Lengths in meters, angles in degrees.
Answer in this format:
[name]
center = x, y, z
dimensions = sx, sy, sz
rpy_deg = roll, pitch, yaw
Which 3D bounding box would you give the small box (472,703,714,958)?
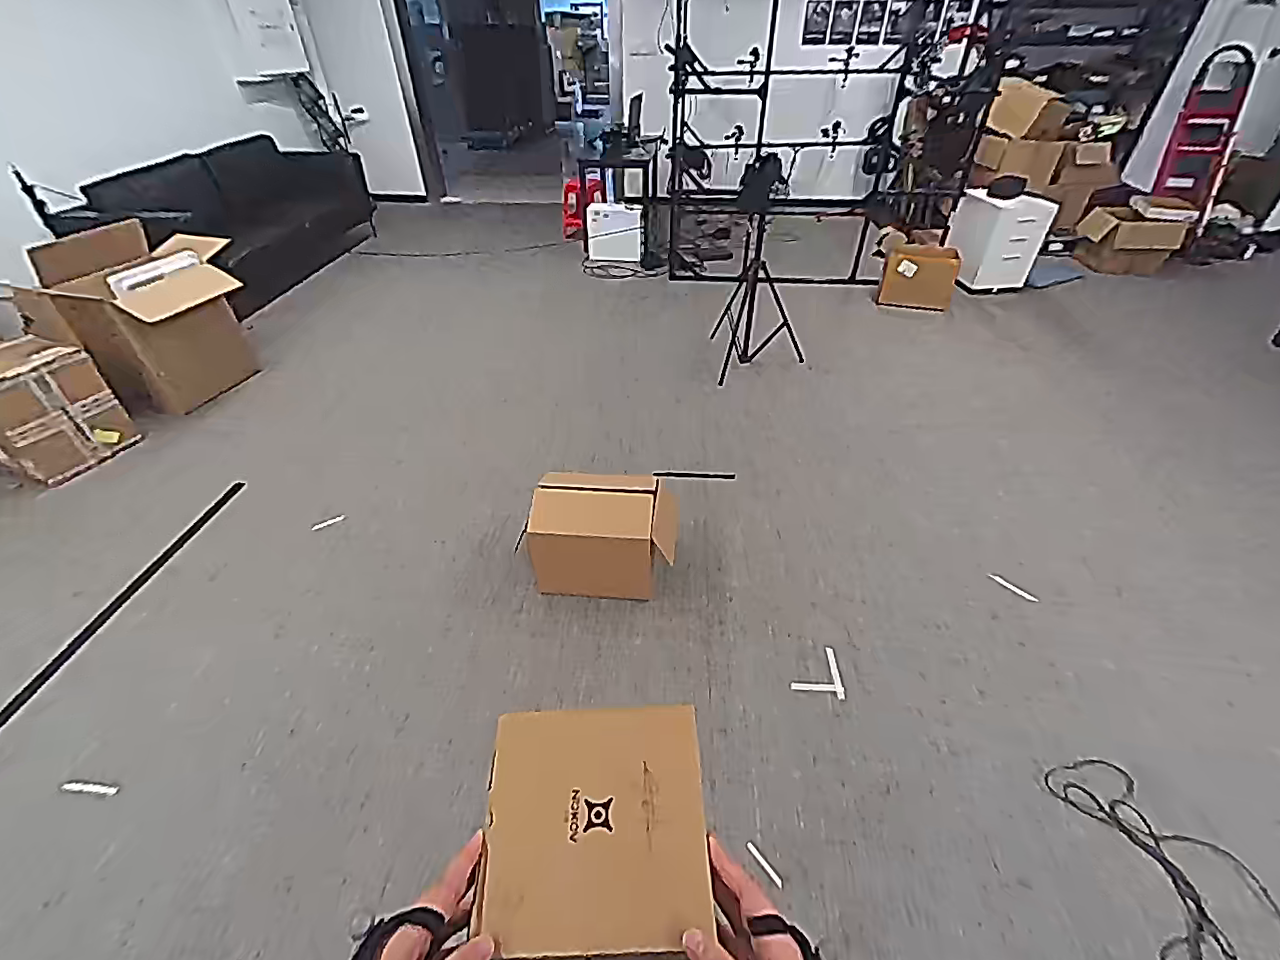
[small box]
center = -0.032, 0.320, 0.492
dimensions = 0.179, 0.176, 0.168
rpy_deg = -3, 47, 0
